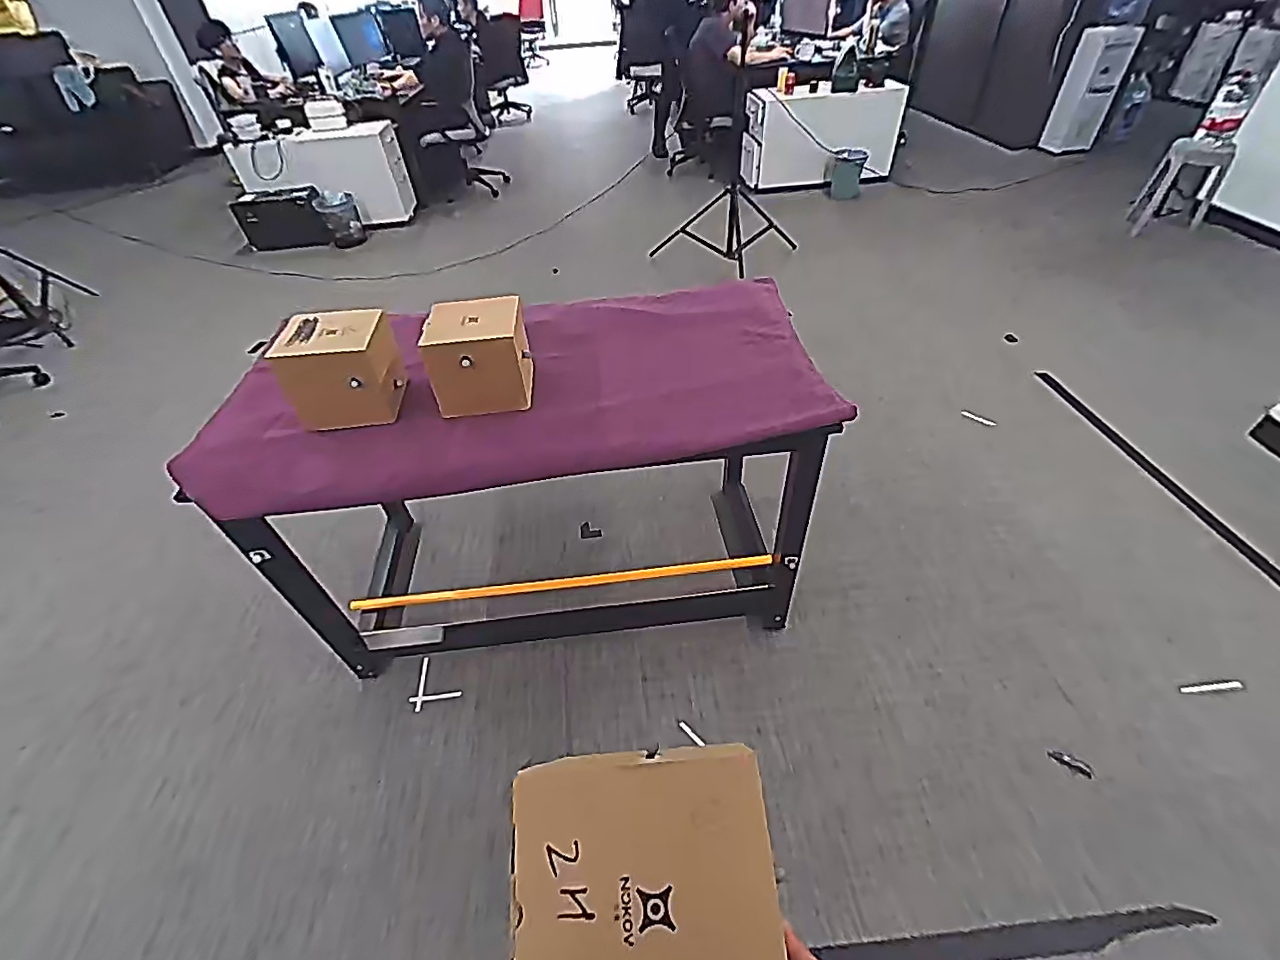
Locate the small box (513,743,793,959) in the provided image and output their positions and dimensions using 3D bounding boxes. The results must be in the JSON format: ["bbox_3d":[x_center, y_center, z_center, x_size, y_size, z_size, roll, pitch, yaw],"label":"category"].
[{"bbox_3d":[0.012,0.303,0.418,0.179,0.176,0.168,-7,65,4],"label":"small box"}]

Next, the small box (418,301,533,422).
[{"bbox_3d":[-0.317,-0.236,1.085,0.179,0.176,0.168,-7,44,-2],"label":"small box"}]
